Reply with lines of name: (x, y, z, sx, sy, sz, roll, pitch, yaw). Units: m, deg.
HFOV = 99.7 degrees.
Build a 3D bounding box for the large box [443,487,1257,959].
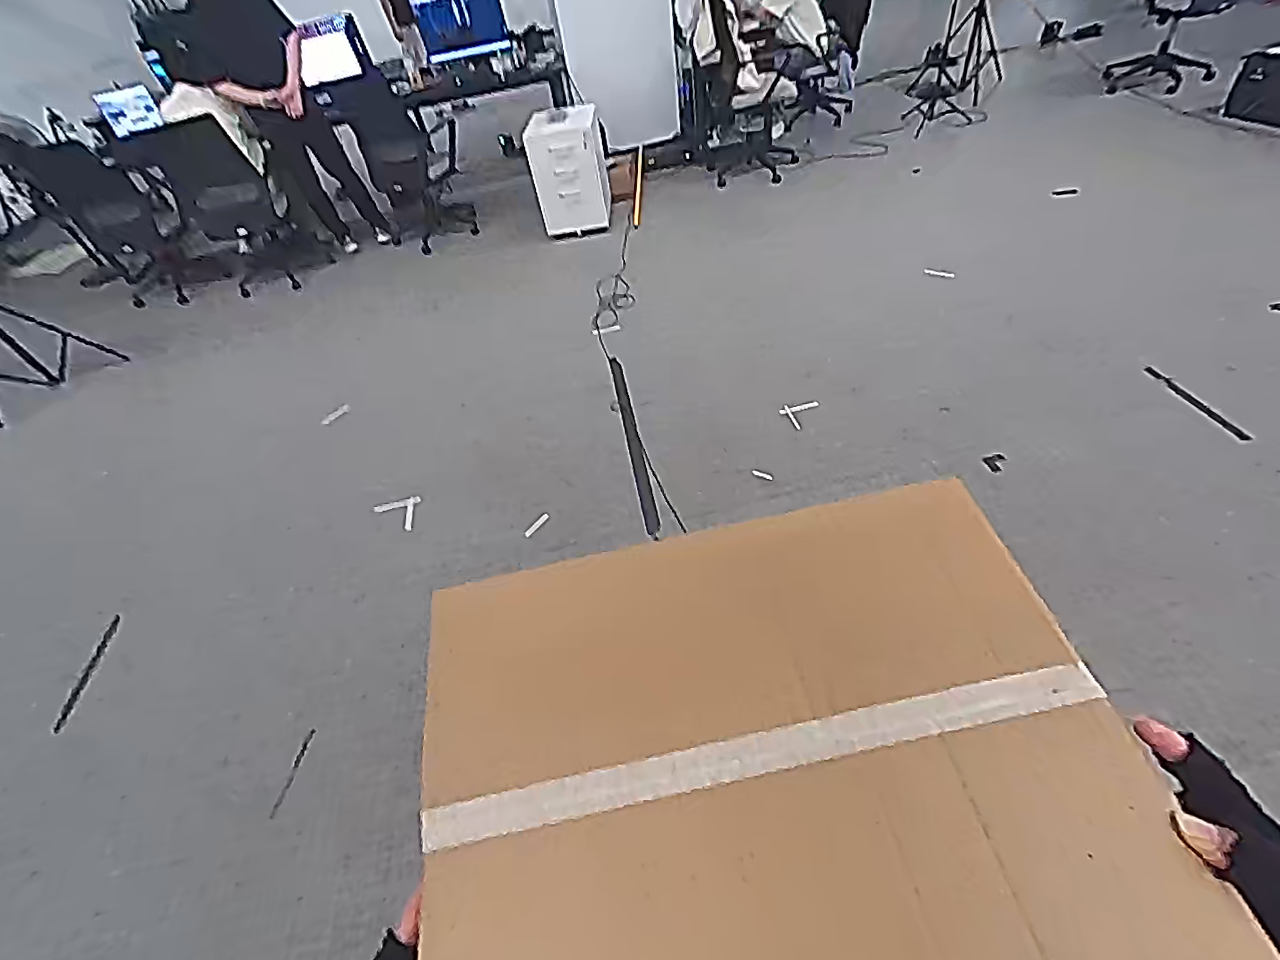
large box: (0.091, 0.256, 0.452, 0.408, 0.320, 0.320, -13, 54, -1)
